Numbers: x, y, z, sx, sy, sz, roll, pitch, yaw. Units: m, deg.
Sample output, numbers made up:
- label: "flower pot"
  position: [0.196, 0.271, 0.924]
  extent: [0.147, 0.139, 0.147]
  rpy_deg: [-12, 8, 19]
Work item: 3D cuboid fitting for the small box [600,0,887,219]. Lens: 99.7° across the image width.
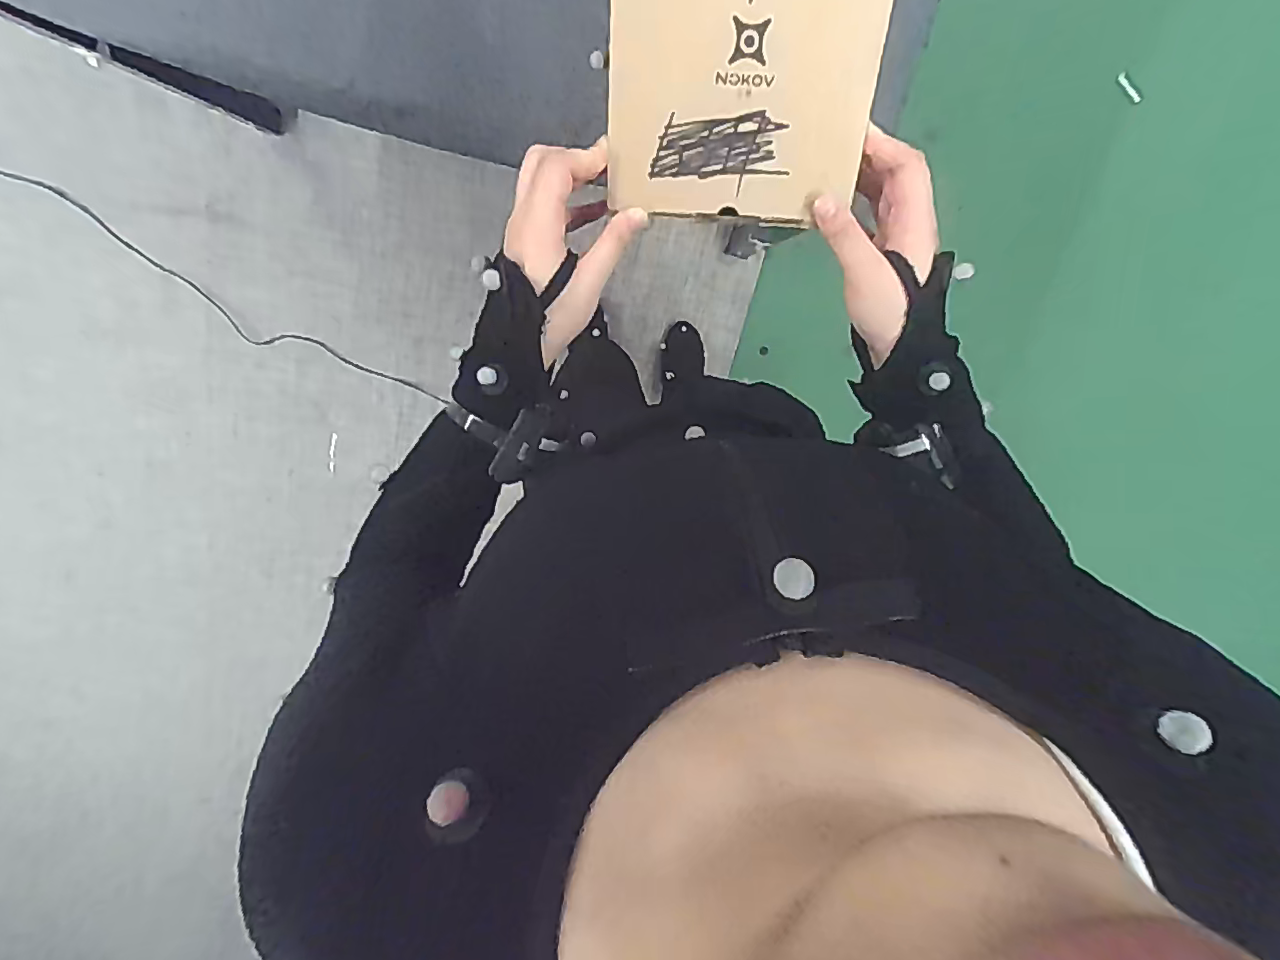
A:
- label: "small box"
  position: [0.059, -0.293, 0.391]
  extent: [0.168, 0.176, 0.179]
  rpy_deg: [2, 118, -2]
